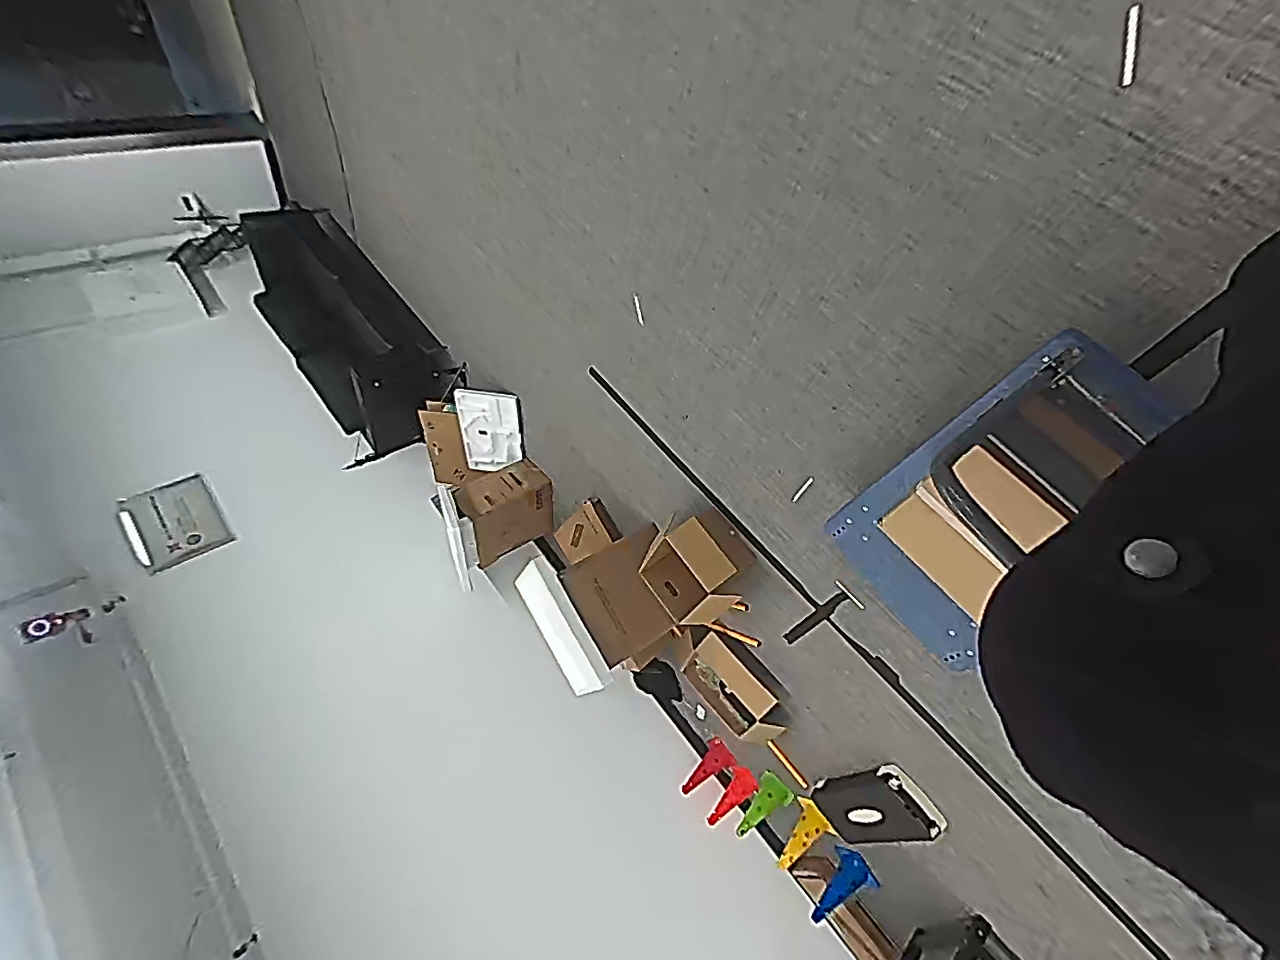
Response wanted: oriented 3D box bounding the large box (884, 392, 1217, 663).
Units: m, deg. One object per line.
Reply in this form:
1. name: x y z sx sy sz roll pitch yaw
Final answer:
1. large box: 0.826 0.091 1.127 0.408 0.320 0.320 50 146 20
